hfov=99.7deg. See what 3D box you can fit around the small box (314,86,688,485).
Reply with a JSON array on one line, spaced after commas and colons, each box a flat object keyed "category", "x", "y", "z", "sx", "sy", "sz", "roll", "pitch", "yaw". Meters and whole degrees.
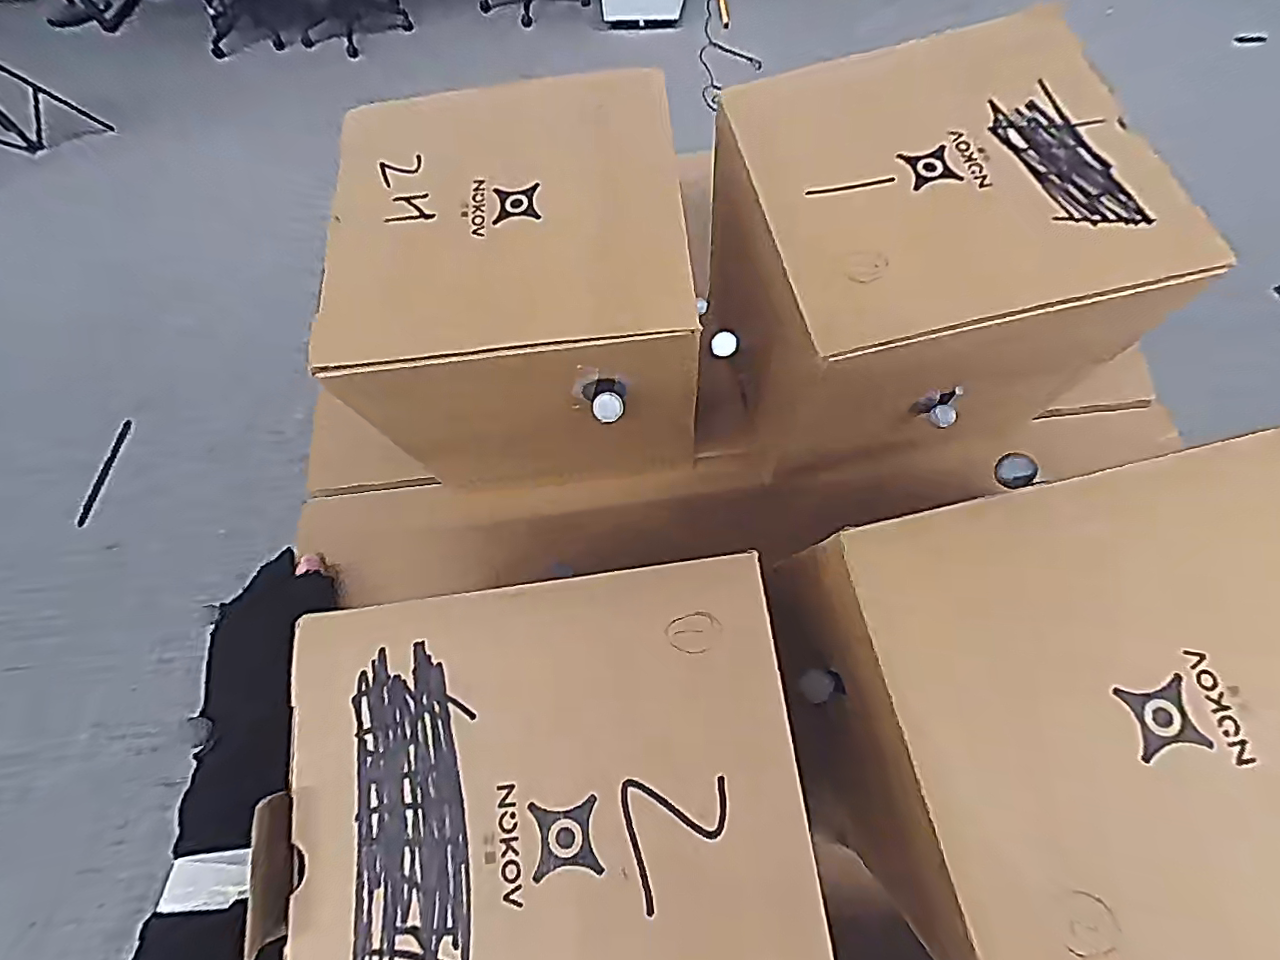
[{"category": "small box", "x": -0.064, "y": -0.104, "z": 0.347, "sx": 0.179, "sy": 0.176, "sz": 0.168, "roll": -5, "pitch": 69, "yaw": 4}]
